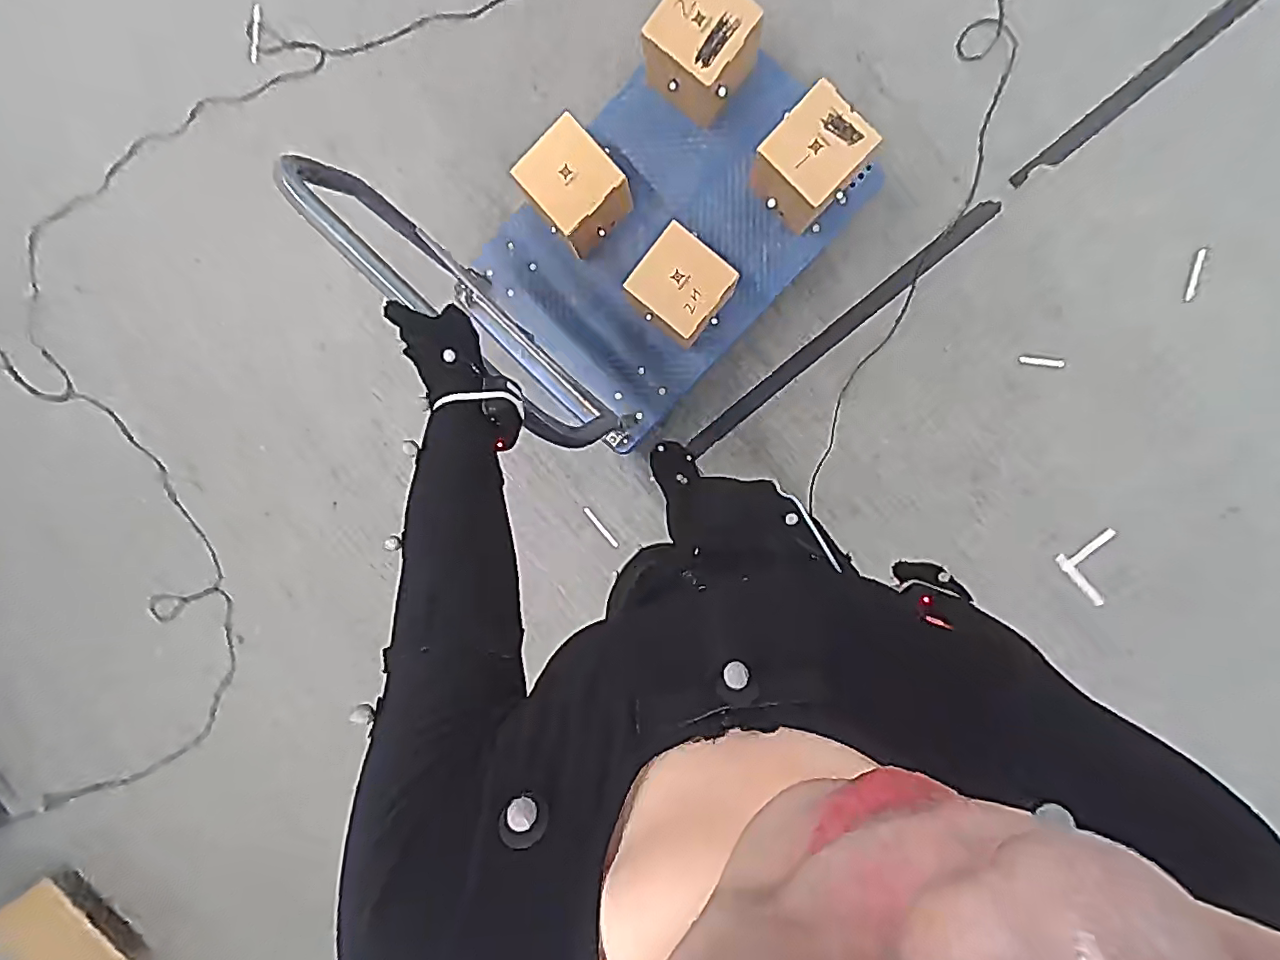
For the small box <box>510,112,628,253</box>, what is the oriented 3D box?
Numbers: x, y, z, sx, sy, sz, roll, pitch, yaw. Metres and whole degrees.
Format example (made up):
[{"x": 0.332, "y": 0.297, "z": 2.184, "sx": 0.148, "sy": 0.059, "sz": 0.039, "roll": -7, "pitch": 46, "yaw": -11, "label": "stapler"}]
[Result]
[{"x": -0.143, "y": -0.622, "z": 1.159, "sx": 0.168, "sy": 0.176, "sz": 0.179, "roll": -42, "pitch": 94, "yaw": 7, "label": "small box"}]

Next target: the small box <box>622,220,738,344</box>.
[{"x": 0.085, "y": -0.412, "z": 1.164, "sx": 0.179, "sy": 0.176, "sz": 0.168, "roll": 40, "pitch": 98, "yaw": -1, "label": "small box"}]

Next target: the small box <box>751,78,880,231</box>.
[{"x": 0.349, "y": -0.656, "z": 1.115, "sx": 0.168, "sy": 0.176, "sz": 0.179, "roll": 45, "pitch": 99, "yaw": -1, "label": "small box"}]
